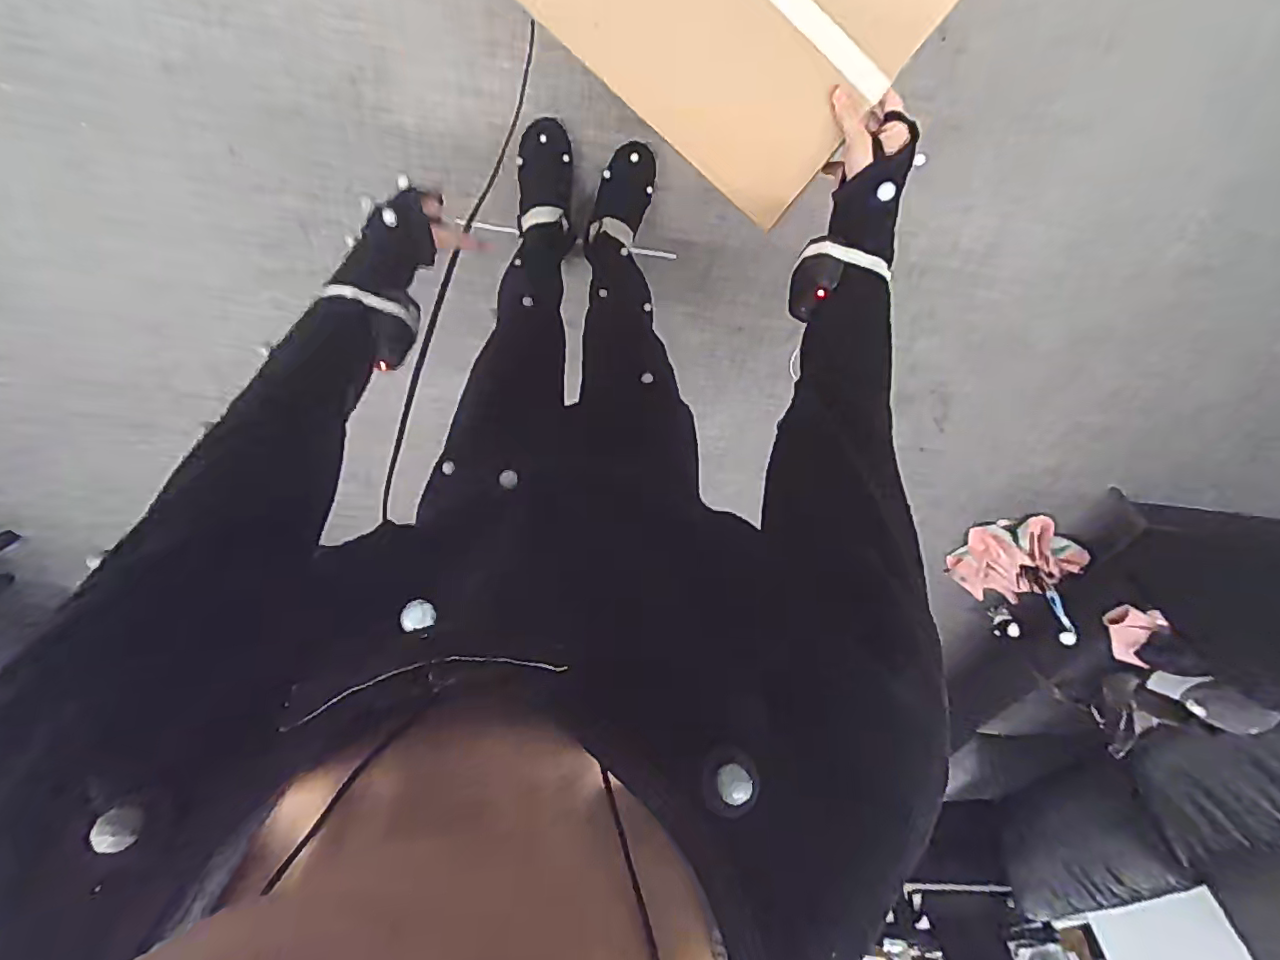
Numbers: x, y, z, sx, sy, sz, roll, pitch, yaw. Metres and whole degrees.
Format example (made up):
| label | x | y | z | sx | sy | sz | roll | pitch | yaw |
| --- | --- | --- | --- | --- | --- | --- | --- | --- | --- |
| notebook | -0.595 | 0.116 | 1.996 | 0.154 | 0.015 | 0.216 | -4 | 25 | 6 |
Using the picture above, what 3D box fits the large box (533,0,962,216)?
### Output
| label | x | y | z | sx | sy | sz | roll | pitch | yaw |
| --- | --- | --- | --- | --- | --- | --- | --- | --- | --- |
| large box | 0.135 | -0.585 | 0.620 | 0.408 | 0.320 | 0.320 | 42 | 128 | -6 |
